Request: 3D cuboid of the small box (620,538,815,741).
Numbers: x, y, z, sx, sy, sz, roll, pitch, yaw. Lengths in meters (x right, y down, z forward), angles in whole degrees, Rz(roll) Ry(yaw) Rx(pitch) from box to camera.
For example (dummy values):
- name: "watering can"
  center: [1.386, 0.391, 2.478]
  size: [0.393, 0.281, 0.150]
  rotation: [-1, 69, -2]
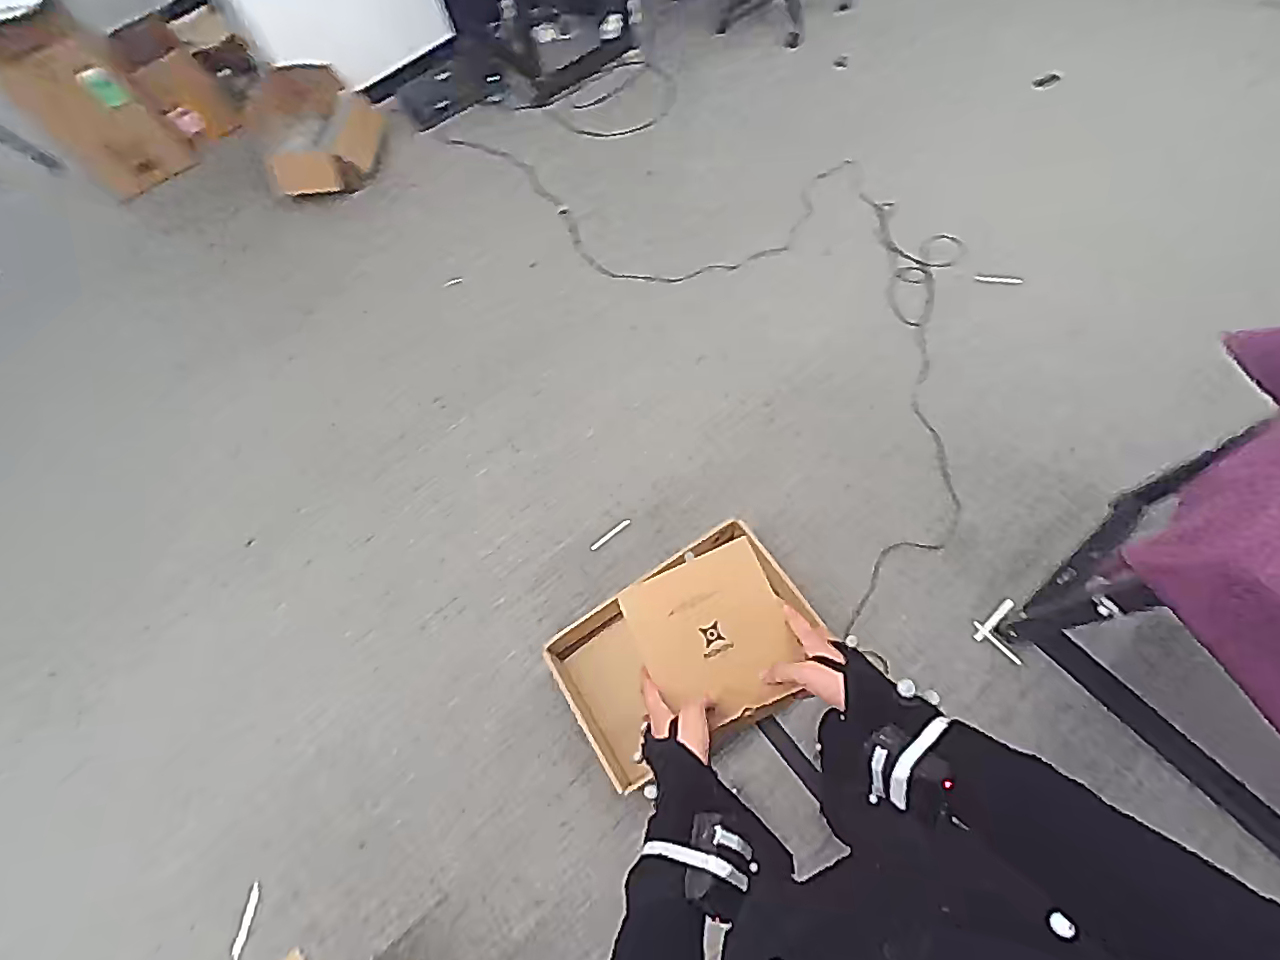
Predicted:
- name: "small box"
  center: [0.090, 0.188, 0.675]
  size: [0.168, 0.176, 0.179]
  rotation: [-24, 77, -1]
